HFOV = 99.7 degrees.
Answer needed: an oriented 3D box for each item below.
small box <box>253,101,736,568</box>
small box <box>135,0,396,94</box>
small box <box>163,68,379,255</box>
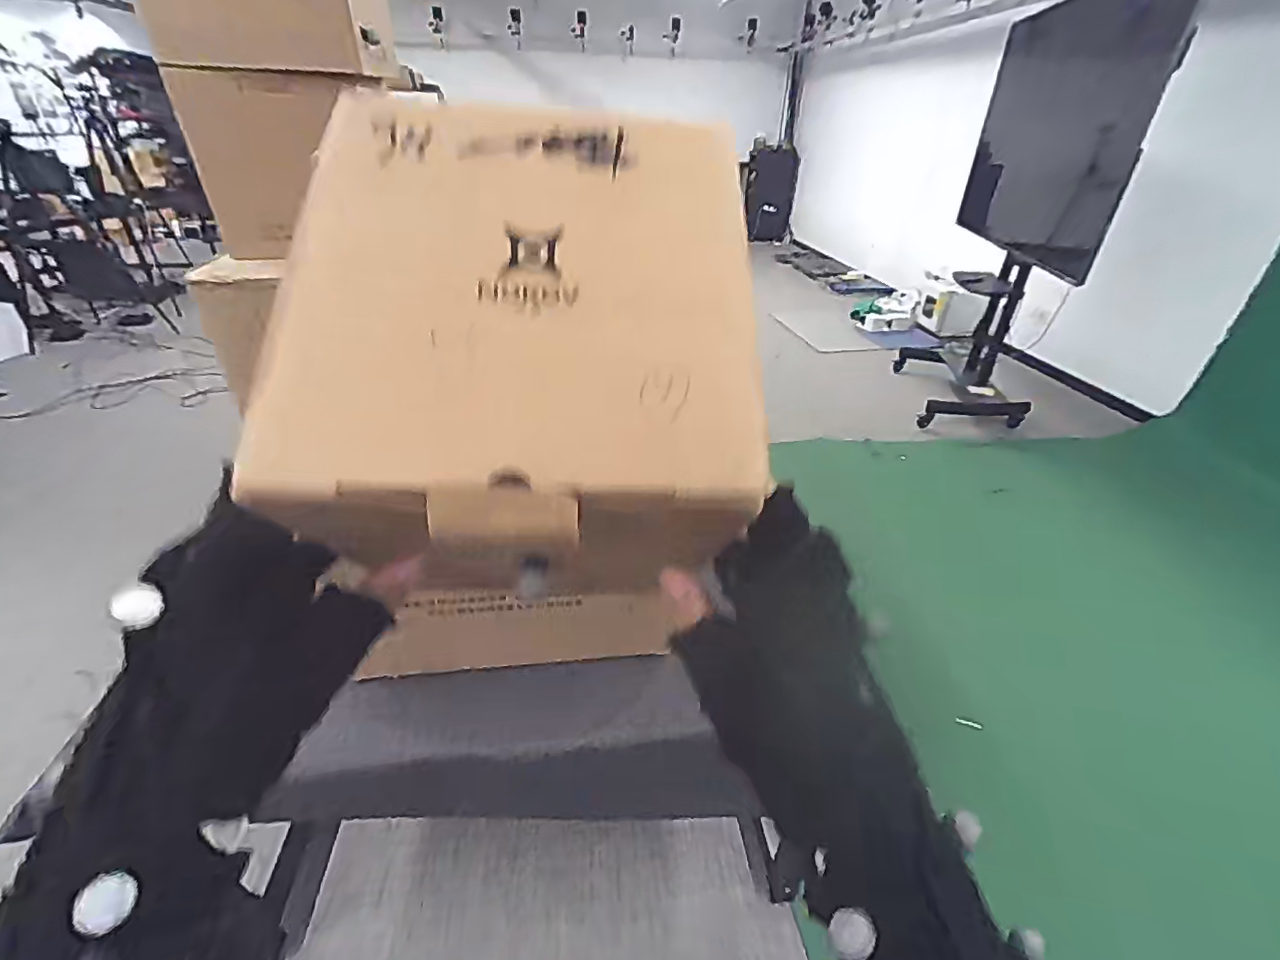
[{"bbox_3d":[-0.051,-0.053,0.284,0.168,0.176,0.179,1,70,-4],"label":"small box"},{"bbox_3d":[-0.355,-0.475,0.520,0.179,0.176,0.168,-5,35,-7],"label":"small box"},{"bbox_3d":[-0.372,-0.358,0.610,0.168,0.176,0.179,-9,37,-14],"label":"small box"}]
